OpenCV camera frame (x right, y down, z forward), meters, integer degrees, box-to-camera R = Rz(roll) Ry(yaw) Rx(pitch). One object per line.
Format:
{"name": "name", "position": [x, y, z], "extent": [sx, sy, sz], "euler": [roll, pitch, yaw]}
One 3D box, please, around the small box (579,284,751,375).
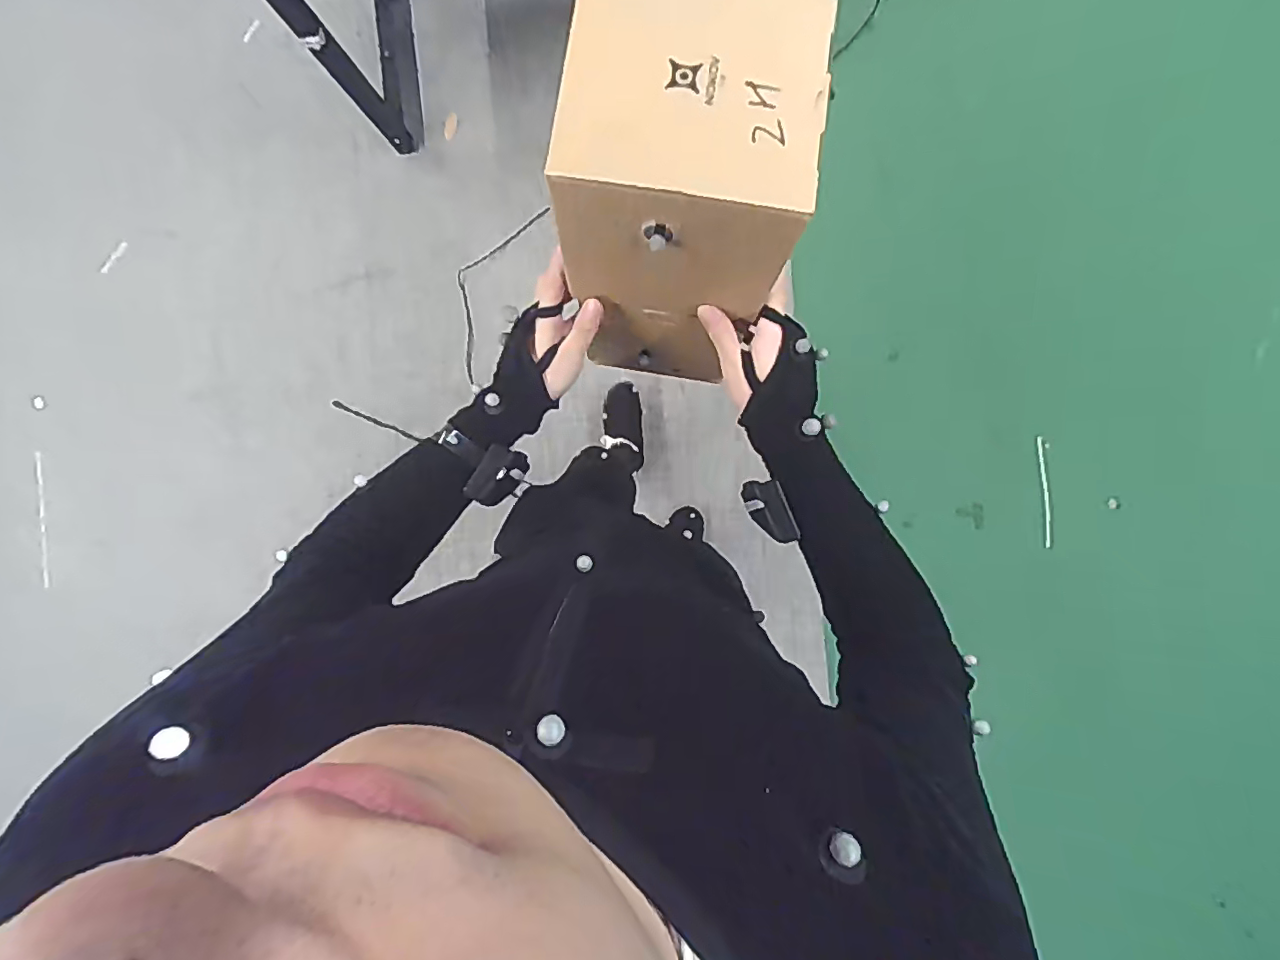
{"name": "small box", "position": [0.032, -0.235, 0.594], "extent": [0.168, 0.176, 0.179], "euler": [9, 83, 0]}

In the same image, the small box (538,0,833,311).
{"name": "small box", "position": [0.031, -0.254, 0.430], "extent": [0.179, 0.176, 0.168], "euler": [9, 82, -1]}
